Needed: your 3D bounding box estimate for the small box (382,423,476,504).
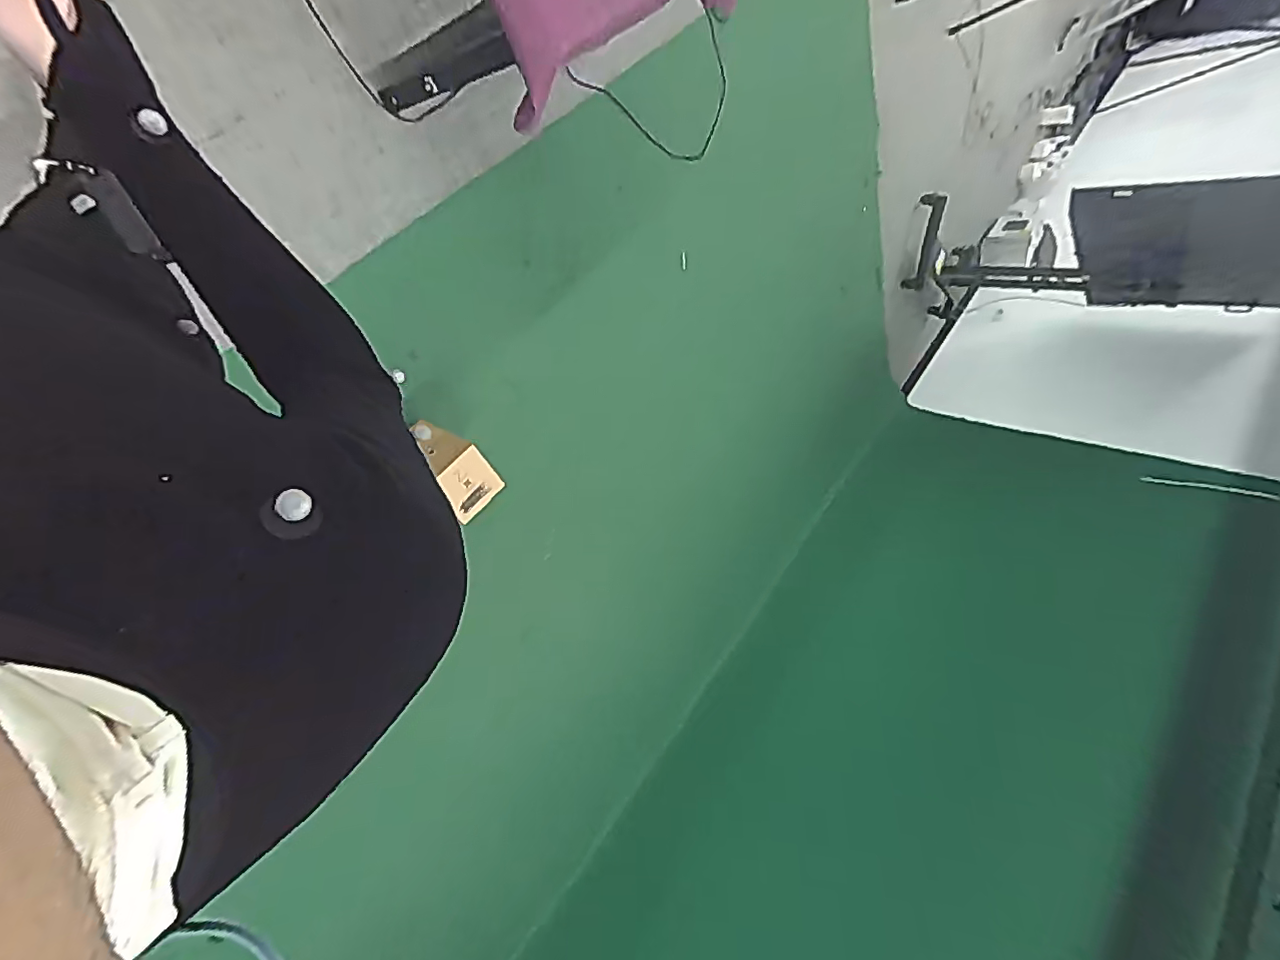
[{"bbox_3d":[-0.651,-0.059,1.661,0.168,0.176,0.179,-50,137,-22],"label":"small box"}]
